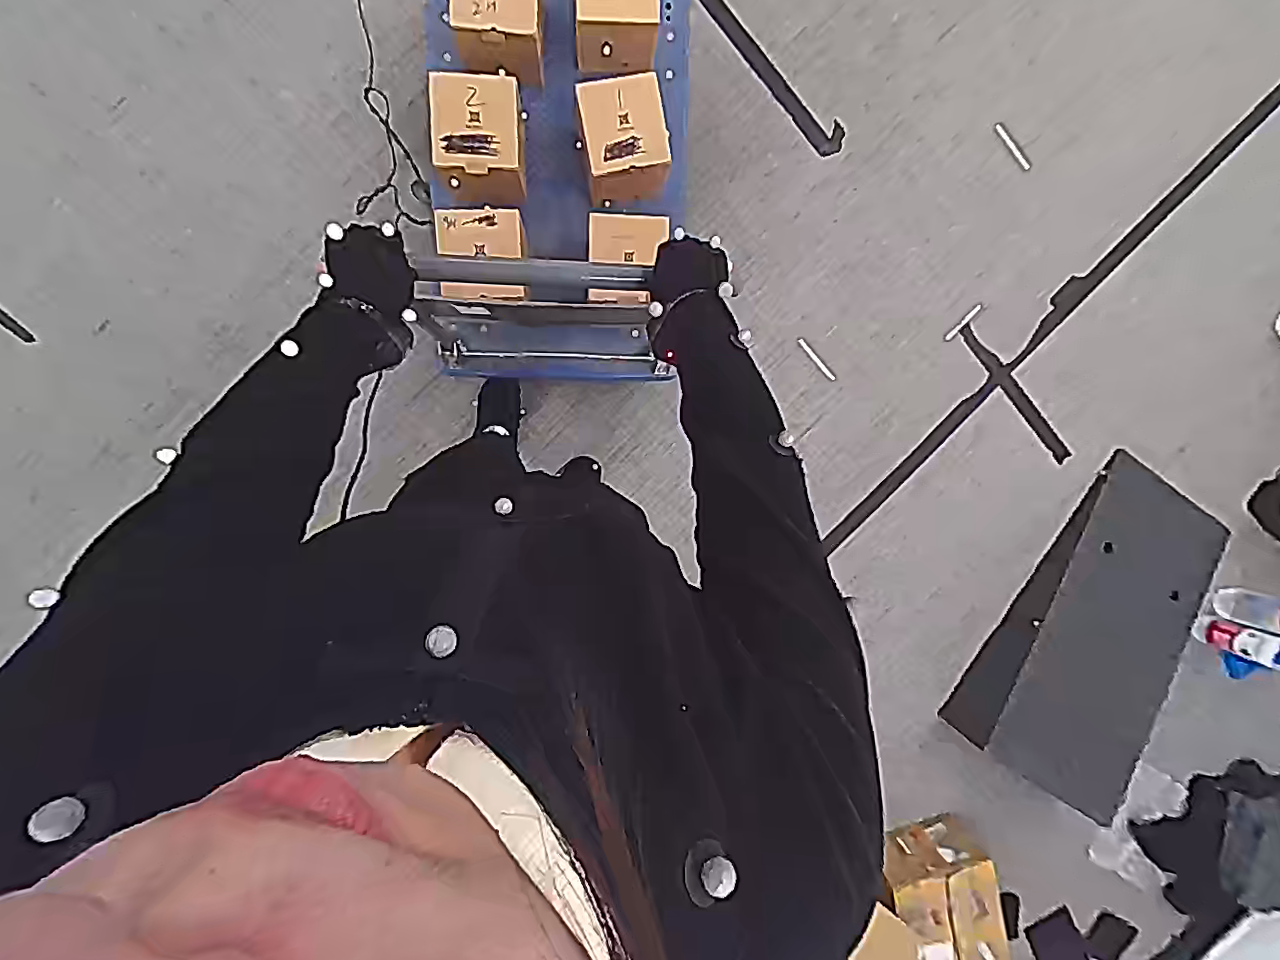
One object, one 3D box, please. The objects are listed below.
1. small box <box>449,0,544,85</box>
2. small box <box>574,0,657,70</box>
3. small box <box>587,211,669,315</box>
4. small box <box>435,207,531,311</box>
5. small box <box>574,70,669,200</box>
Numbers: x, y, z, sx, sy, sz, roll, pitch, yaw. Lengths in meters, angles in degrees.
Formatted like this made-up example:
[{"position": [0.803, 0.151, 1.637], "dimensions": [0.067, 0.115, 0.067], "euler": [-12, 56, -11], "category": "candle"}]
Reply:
[{"position": [-0.286, -0.957, 1.103], "dimensions": [0.168, 0.176, 0.179], "euler": [2, 97, -6], "category": "small box"}, {"position": [-0.055, -0.993, 1.125], "dimensions": [0.168, 0.176, 0.179], "euler": [-3, 97, -5], "category": "small box"}, {"position": [-0.031, -0.467, 1.189], "dimensions": [0.168, 0.176, 0.179], "euler": [1, 96, -6], "category": "small box"}, {"position": [-0.328, -0.463, 1.156], "dimensions": [0.168, 0.176, 0.179], "euler": [-4, 97, -6], "category": "small box"}, {"position": [-0.041, -0.723, 1.157], "dimensions": [0.168, 0.176, 0.179], "euler": [-12, 97, -4], "category": "small box"}]
